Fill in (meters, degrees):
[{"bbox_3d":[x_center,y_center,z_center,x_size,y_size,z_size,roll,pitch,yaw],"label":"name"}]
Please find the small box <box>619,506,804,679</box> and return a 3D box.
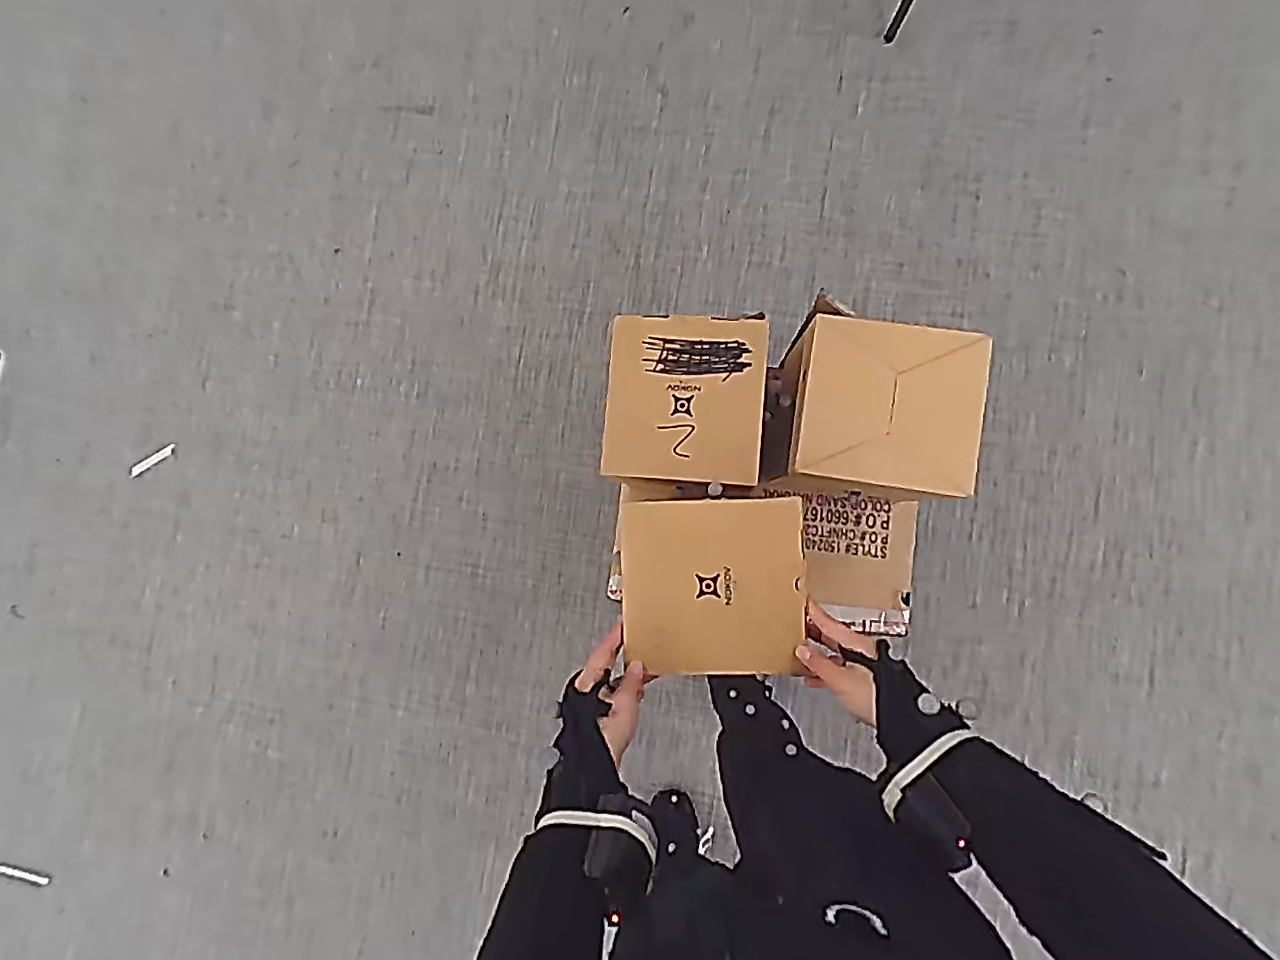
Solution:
[{"bbox_3d":[0.073,0.113,0.602,0.179,0.176,0.168,-2,88,2],"label":"small box"}]
